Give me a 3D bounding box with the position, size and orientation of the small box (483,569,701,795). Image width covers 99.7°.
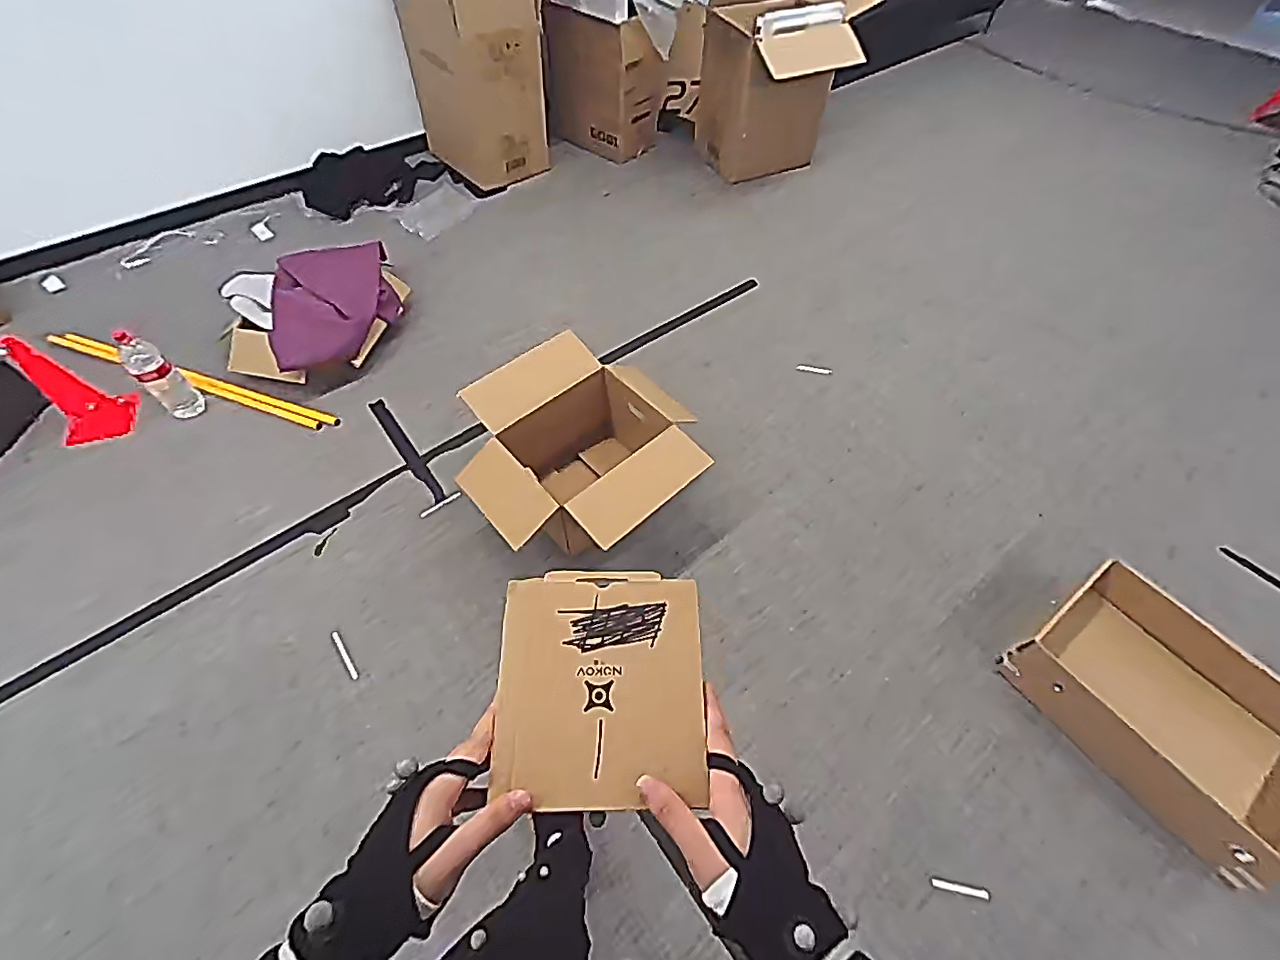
[{"bbox_3d":[-0.038,0.194,0.510,0.168,0.176,0.179,0,62,-1],"label":"small box"}]
